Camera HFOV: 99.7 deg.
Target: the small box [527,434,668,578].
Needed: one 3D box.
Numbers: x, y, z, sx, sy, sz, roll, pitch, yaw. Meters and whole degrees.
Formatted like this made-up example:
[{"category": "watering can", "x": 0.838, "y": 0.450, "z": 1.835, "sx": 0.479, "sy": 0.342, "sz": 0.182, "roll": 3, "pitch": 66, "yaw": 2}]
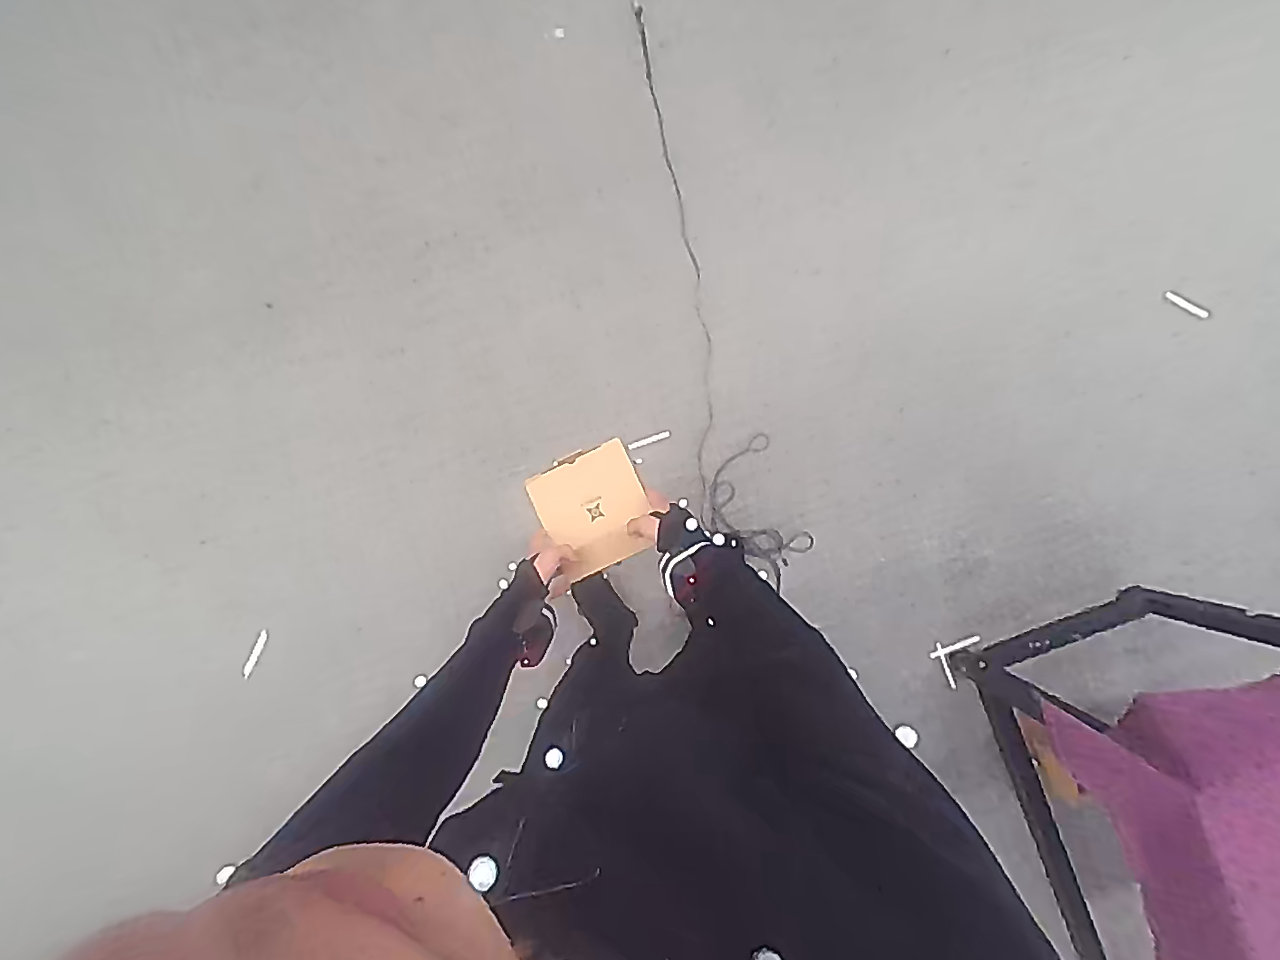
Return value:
[{"category": "small box", "x": -0.063, "y": 0.041, "z": 0.898, "sx": 0.168, "sy": 0.176, "sz": 0.179, "roll": -25, "pitch": 89, "yaw": 3}]
